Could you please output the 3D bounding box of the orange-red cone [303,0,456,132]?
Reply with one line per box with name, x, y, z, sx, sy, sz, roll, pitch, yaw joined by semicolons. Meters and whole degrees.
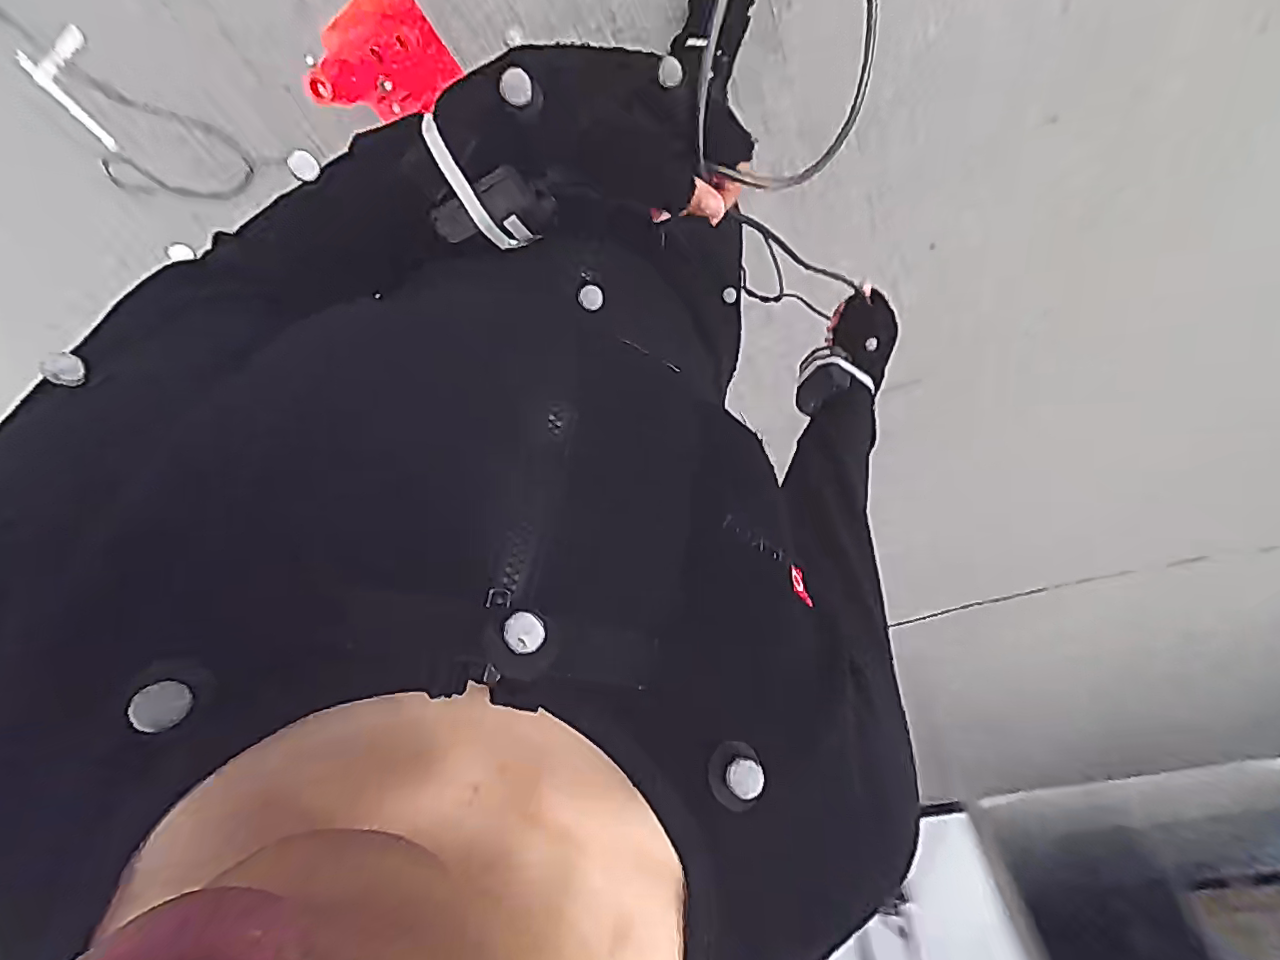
orange-red cone;-0.476;-0.694;0.911;0.199;0.360;0.198;-24;130;19
